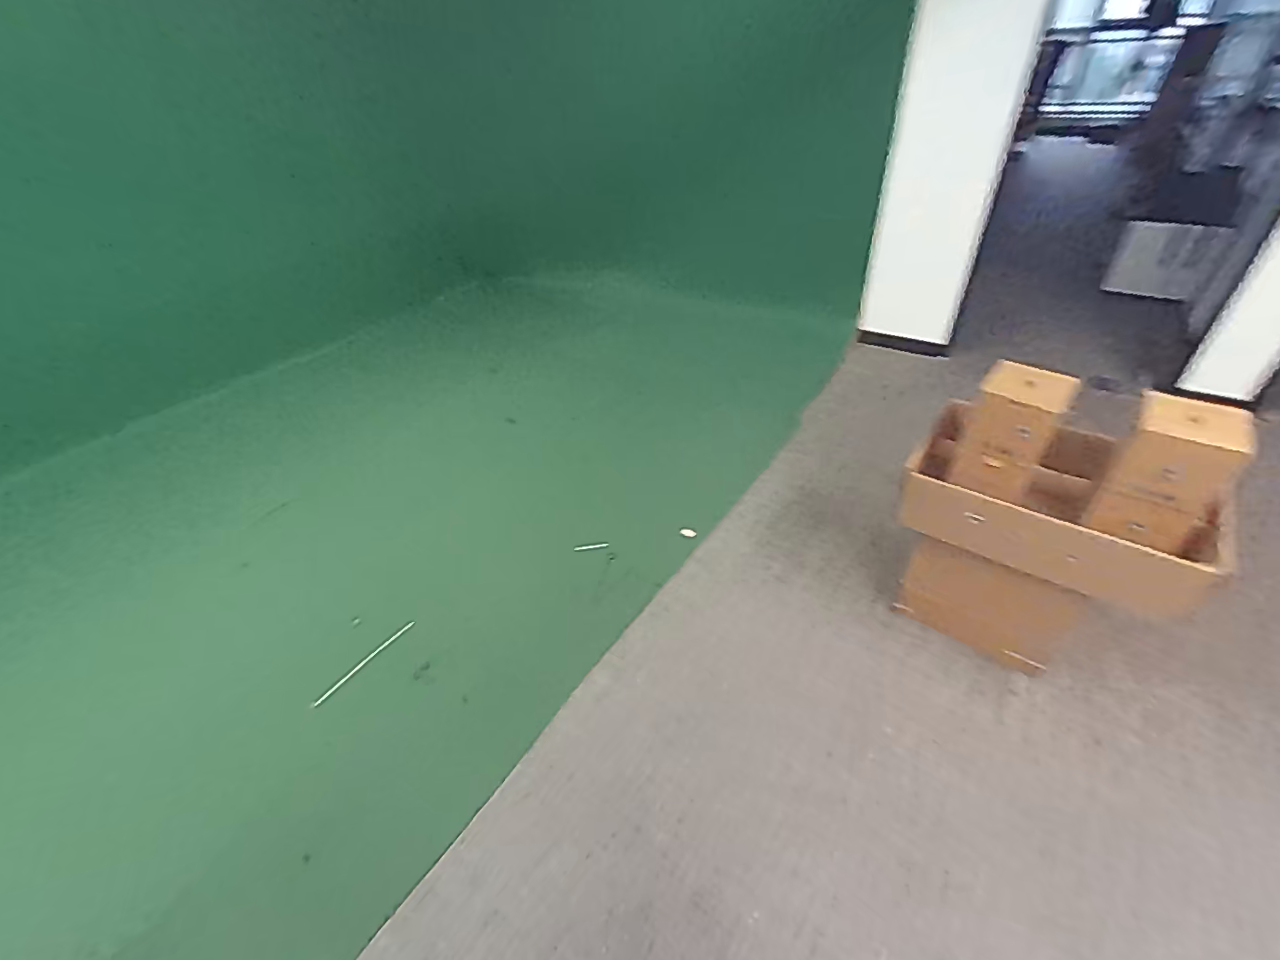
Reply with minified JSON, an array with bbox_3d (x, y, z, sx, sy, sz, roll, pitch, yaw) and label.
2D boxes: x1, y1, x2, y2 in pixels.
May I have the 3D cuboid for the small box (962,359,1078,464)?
[{"bbox_3d":[0.913,-0.165,1.311,0.168,0.176,0.179,29,51,33],"label":"small box"}]

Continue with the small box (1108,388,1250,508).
[{"bbox_3d":[1.148,-0.067,1.160,0.168,0.176,0.179,24,49,31],"label":"small box"}]
